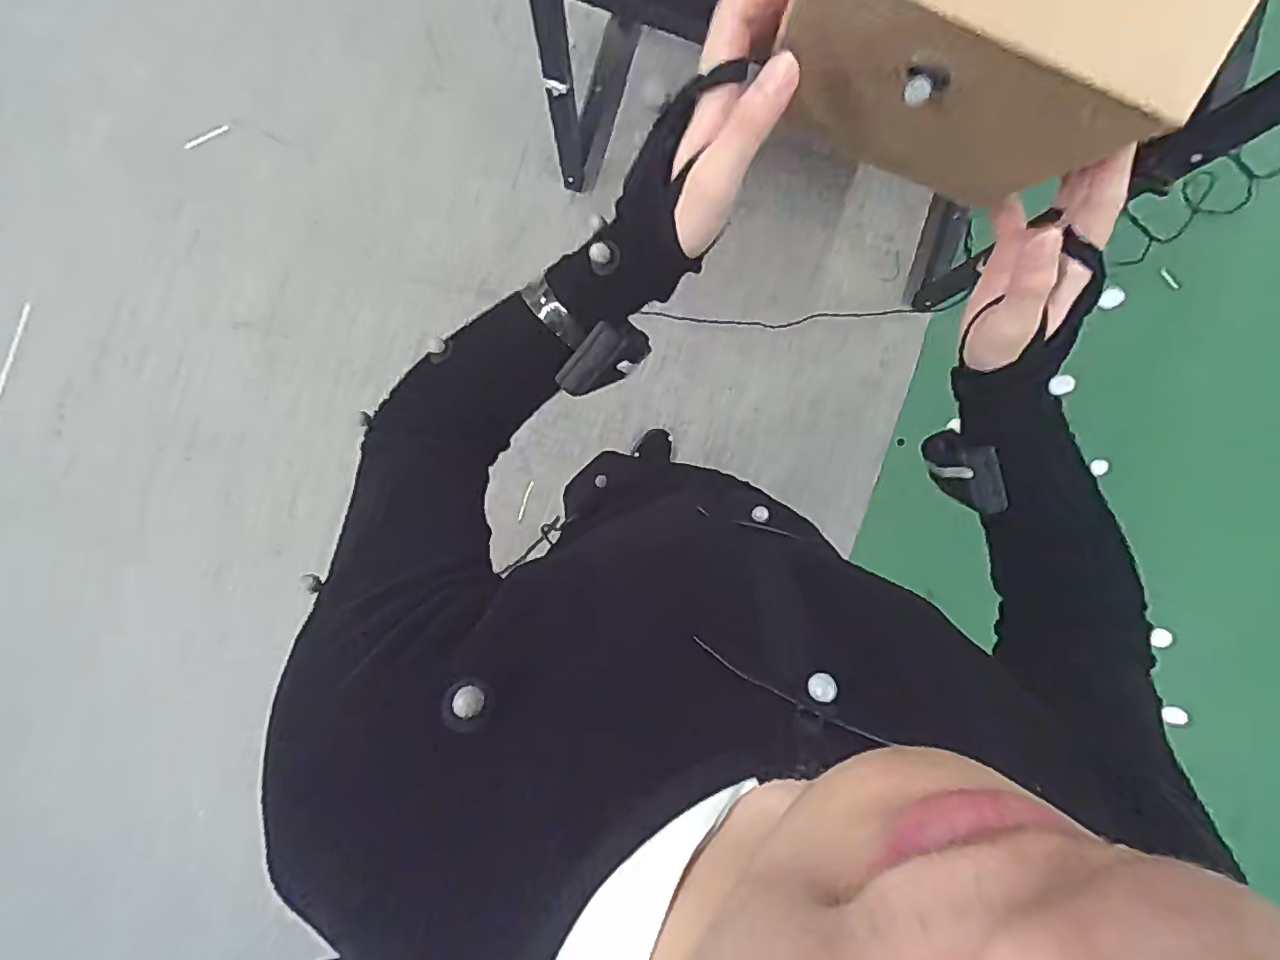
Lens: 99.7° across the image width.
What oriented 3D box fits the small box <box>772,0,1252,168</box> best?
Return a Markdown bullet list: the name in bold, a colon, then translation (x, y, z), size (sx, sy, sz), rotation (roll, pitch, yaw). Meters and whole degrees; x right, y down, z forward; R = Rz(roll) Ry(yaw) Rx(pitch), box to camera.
- **small box**: translation (0.185, -0.289, 0.272), size (0.179, 0.176, 0.168), rotation (22, 106, -3)
